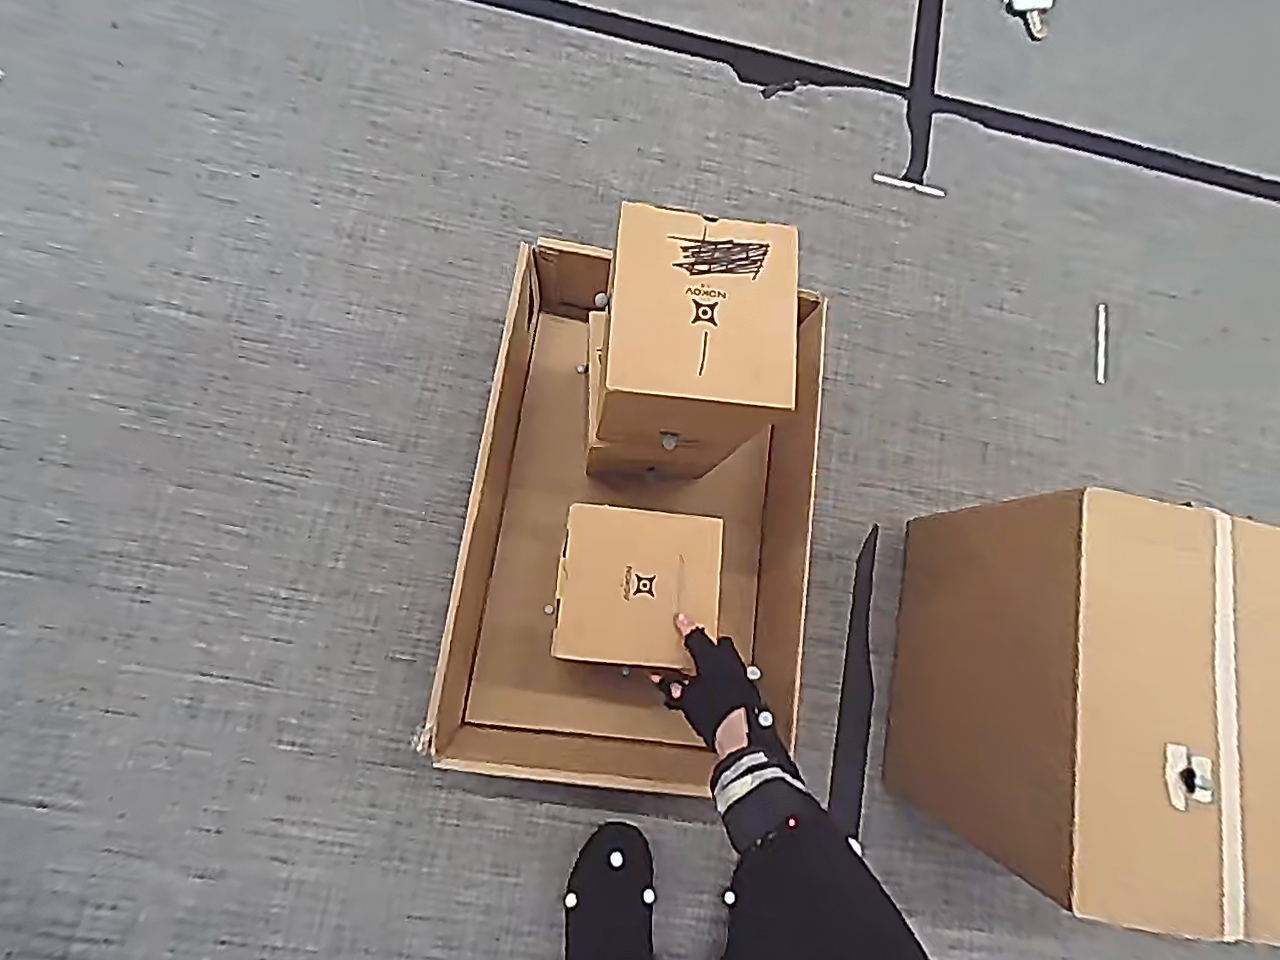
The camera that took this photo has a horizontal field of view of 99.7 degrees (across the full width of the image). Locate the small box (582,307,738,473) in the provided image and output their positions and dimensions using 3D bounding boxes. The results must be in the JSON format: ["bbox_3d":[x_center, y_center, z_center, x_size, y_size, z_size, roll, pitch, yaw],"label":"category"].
[{"bbox_3d":[0.017,-0.105,0.702,0.179,0.176,0.168,1,80,-7],"label":"small box"}]

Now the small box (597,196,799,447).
[{"bbox_3d":[0.046,-0.143,0.543,0.168,0.176,0.179,5,80,-6],"label":"small box"}]

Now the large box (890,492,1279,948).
[{"bbox_3d":[0.551,0.253,0.678,0.320,0.320,0.408,11,79,-4],"label":"large box"}]
